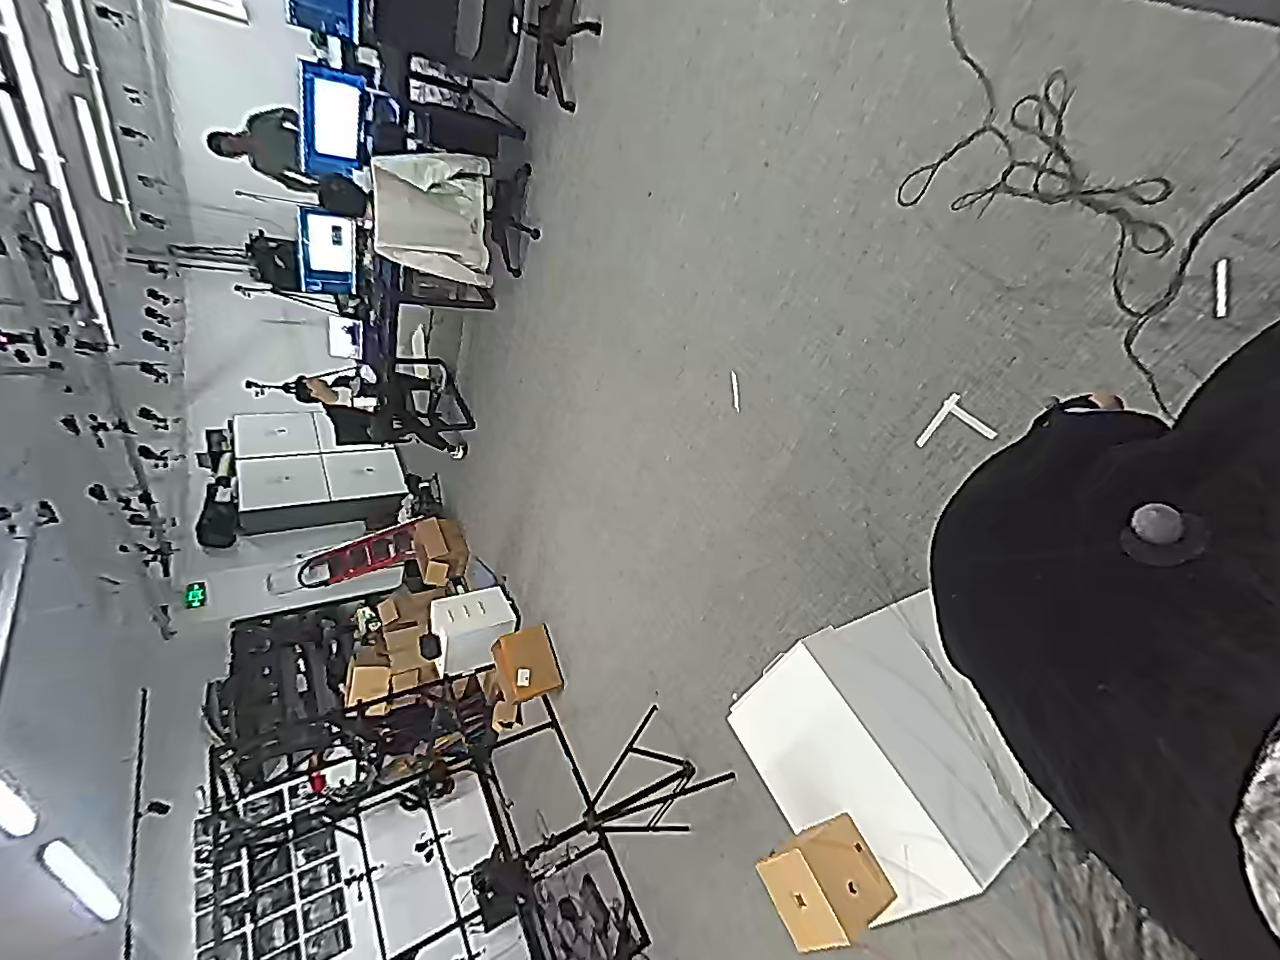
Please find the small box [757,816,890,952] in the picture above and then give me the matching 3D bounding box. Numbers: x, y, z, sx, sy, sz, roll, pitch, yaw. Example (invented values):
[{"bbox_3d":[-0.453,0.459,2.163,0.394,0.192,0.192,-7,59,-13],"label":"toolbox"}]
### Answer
[{"bbox_3d":[0.387,0.838,1.131,0.168,0.176,0.179,59,140,31],"label":"small box"}]
